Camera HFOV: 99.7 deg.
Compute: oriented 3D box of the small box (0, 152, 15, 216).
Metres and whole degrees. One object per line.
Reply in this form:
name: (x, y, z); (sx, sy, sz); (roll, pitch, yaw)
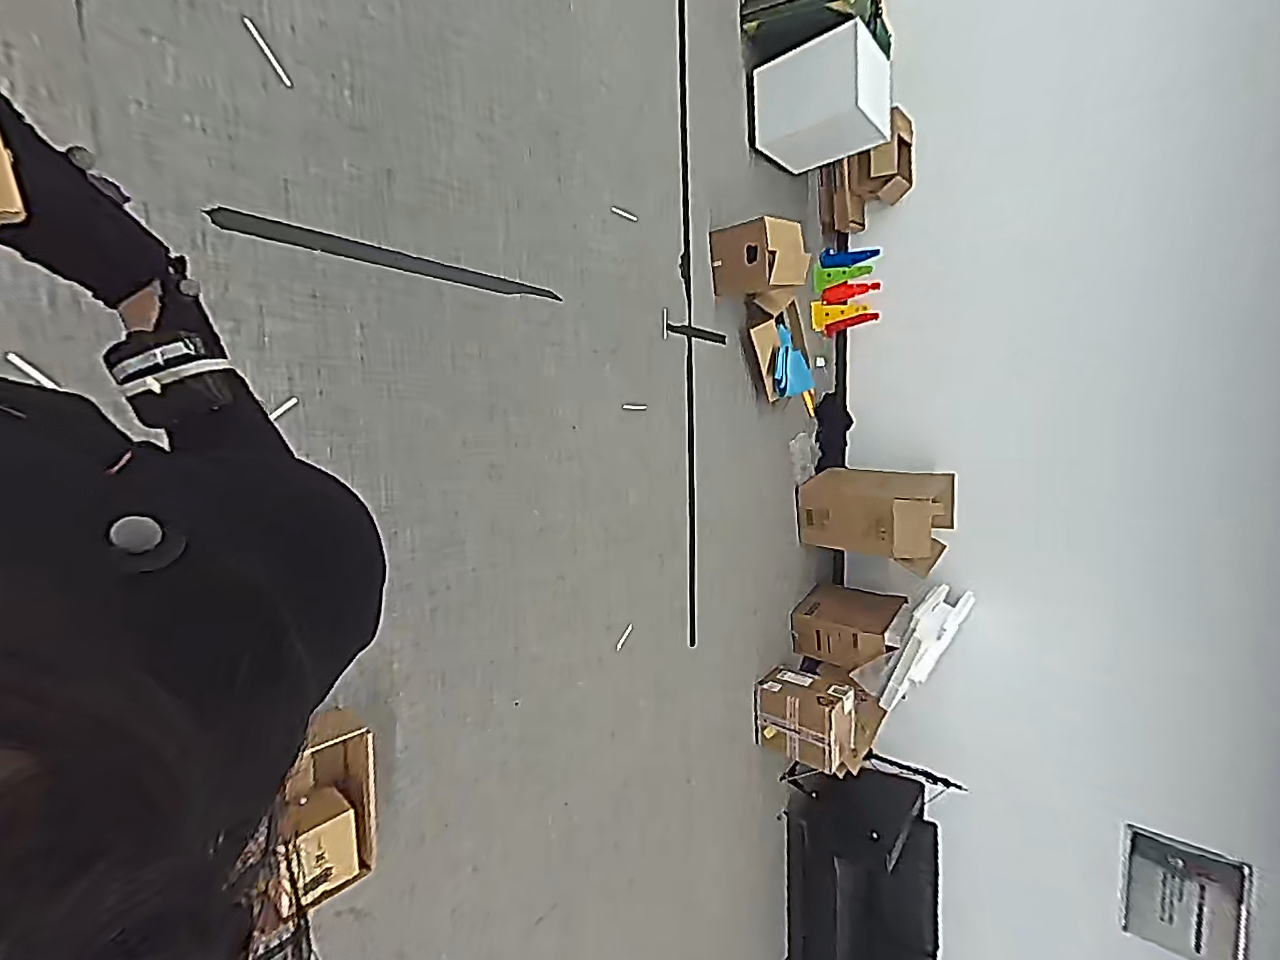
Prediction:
small box: (-0.423, -0.214, 0.225); (0.168, 0.176, 0.179); (-25, 124, -51)
